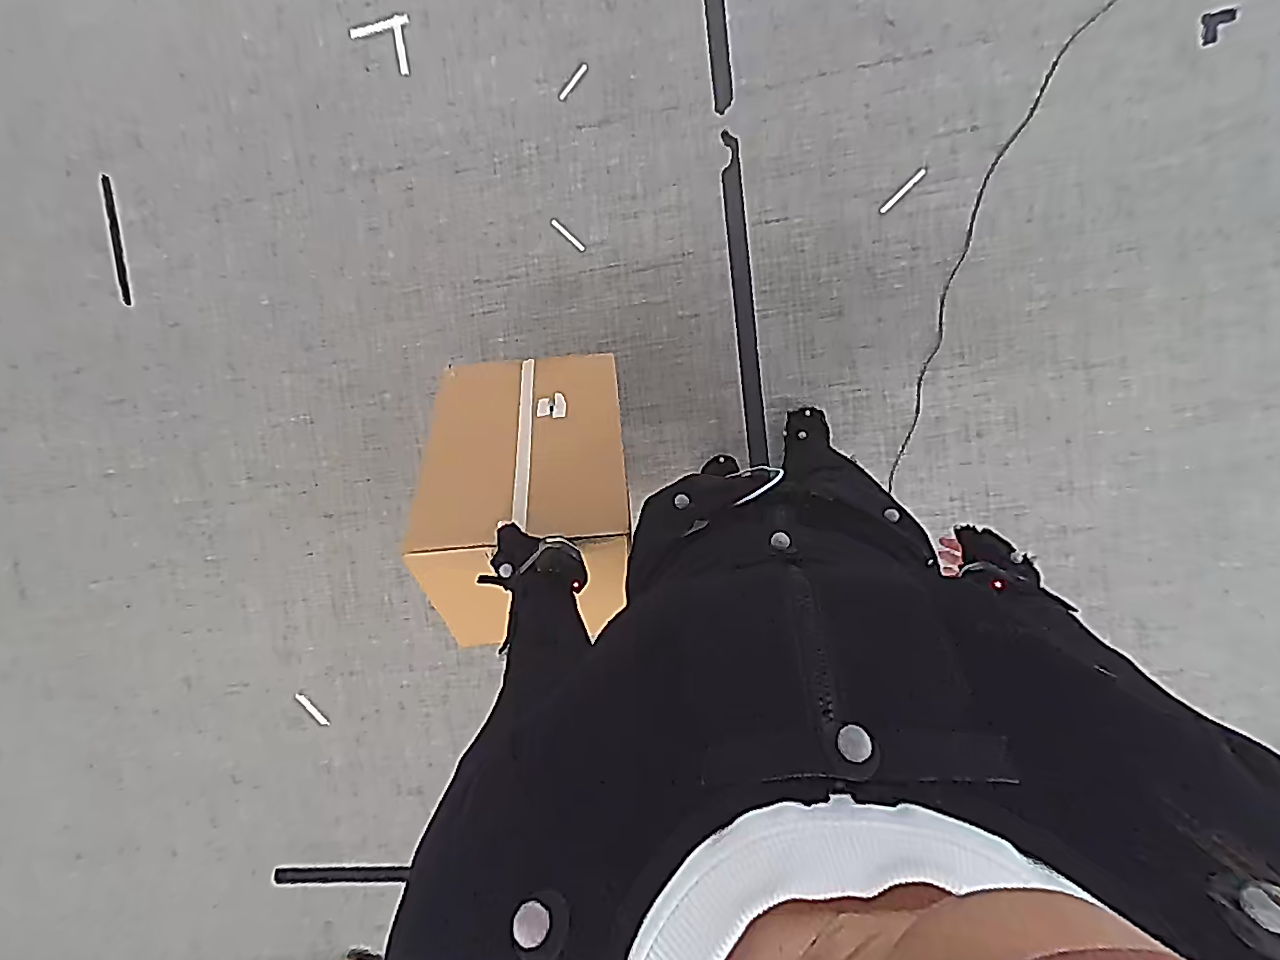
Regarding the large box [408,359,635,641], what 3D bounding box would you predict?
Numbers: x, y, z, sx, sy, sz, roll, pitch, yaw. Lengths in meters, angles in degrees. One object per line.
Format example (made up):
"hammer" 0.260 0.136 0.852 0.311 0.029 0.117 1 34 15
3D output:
"large box" -0.184 0.033 0.989 0.320 0.320 0.408 -4 49 -2
